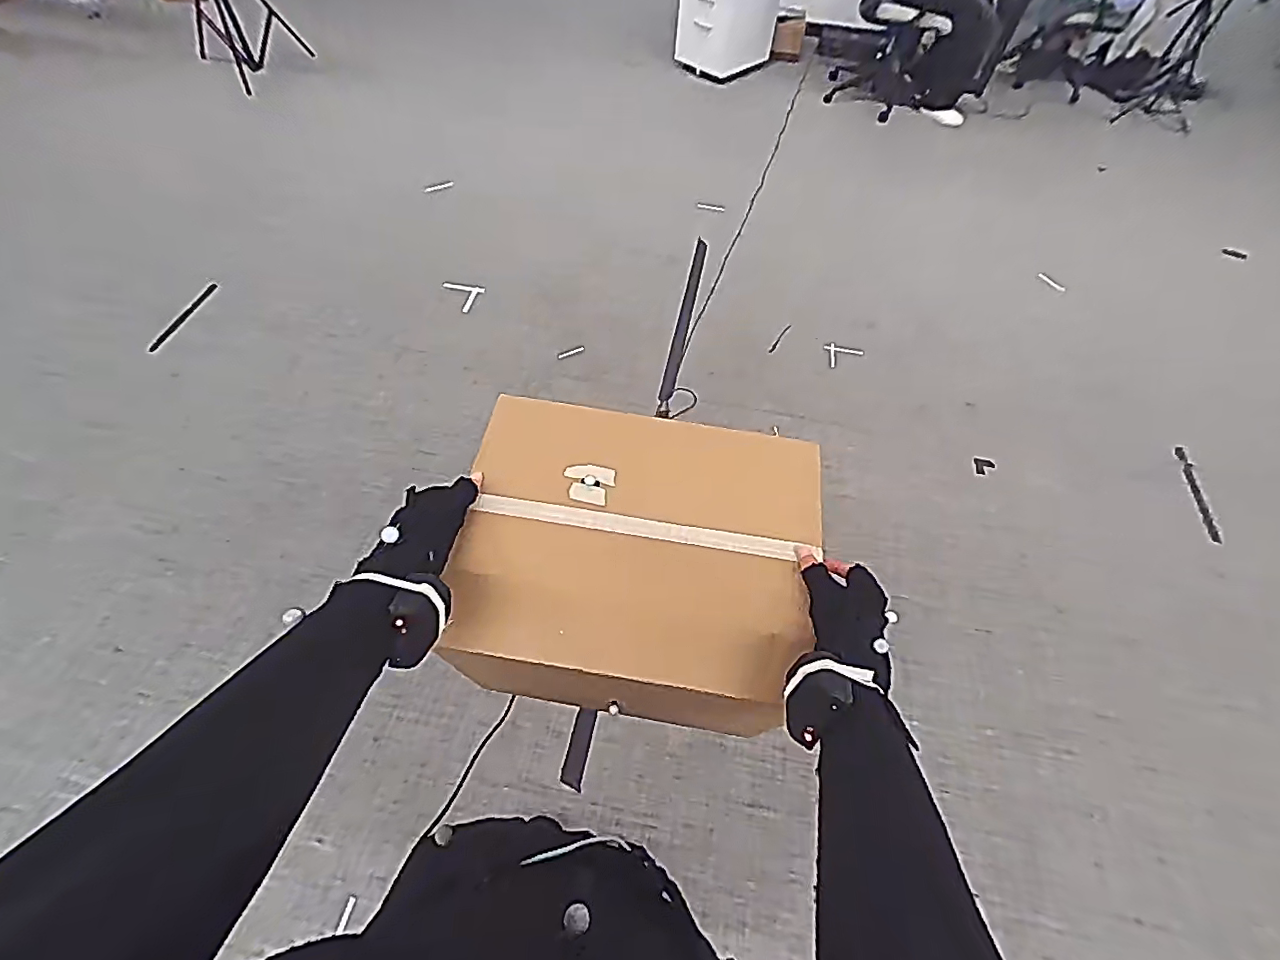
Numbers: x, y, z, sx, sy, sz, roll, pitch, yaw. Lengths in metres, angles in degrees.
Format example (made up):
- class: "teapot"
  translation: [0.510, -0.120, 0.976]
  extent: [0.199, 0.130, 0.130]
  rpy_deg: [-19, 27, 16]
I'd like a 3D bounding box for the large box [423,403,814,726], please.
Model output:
- class: "large box"
  translation: [-0.005, 0.131, 0.740]
  extent: [0.408, 0.320, 0.320]
  rpy_deg: [9, 60, 4]
